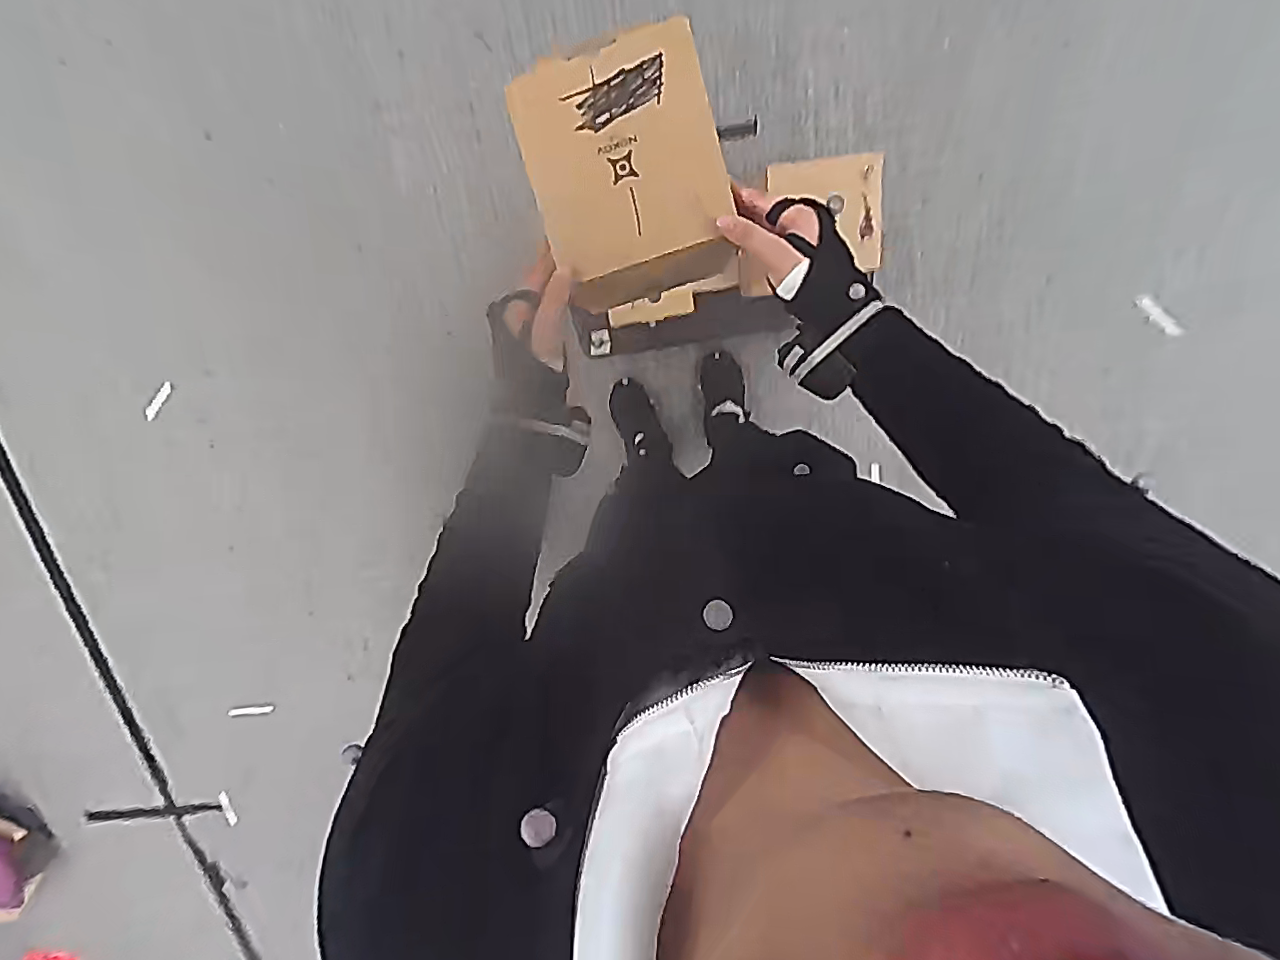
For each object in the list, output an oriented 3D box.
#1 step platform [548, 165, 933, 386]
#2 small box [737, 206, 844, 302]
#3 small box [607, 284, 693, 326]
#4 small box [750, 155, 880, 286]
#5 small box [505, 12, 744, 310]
[{"bbox_3d":[0.178,-0.379,1.059,0.684,0.204,0.286,-9,106,3],"label":"step platform"},{"bbox_3d":[0.286,-0.451,1.072,0.179,0.176,0.168,-8,105,4],"label":"small box"},{"bbox_3d":[0.010,-0.410,1.089,0.168,0.176,0.179,-9,106,4],"label":"small box"},{"bbox_3d":[0.282,-0.424,0.910,0.179,0.176,0.168,-5,106,3],"label":"small box"},{"bbox_3d":[-0.008,-0.284,0.527,0.168,0.176,0.179,-15,99,7],"label":"small box"}]
